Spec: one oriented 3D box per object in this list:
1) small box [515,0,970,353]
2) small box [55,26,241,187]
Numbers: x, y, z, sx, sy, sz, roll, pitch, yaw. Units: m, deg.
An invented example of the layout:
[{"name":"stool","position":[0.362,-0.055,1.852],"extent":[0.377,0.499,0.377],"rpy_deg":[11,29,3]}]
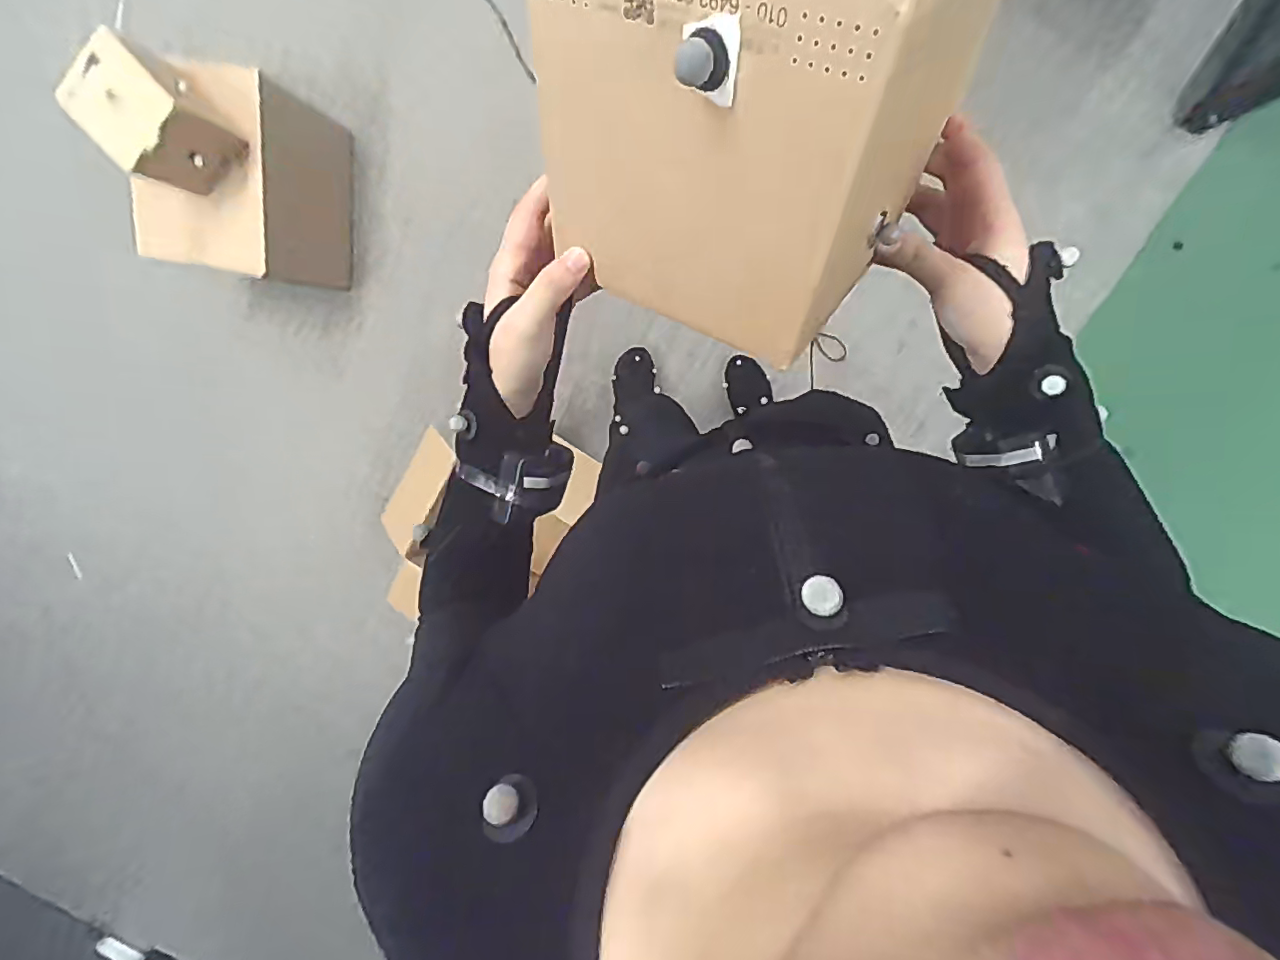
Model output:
[{"name":"small box","position":[0.055,-0.210,0.292],"extent":[0.168,0.179,0.176],"rpy_deg":[31,149,19]},{"name":"small box","position":[-0.939,-0.704,1.051],"extent":[0.168,0.176,0.179],"rpy_deg":[-40,98,13]}]
